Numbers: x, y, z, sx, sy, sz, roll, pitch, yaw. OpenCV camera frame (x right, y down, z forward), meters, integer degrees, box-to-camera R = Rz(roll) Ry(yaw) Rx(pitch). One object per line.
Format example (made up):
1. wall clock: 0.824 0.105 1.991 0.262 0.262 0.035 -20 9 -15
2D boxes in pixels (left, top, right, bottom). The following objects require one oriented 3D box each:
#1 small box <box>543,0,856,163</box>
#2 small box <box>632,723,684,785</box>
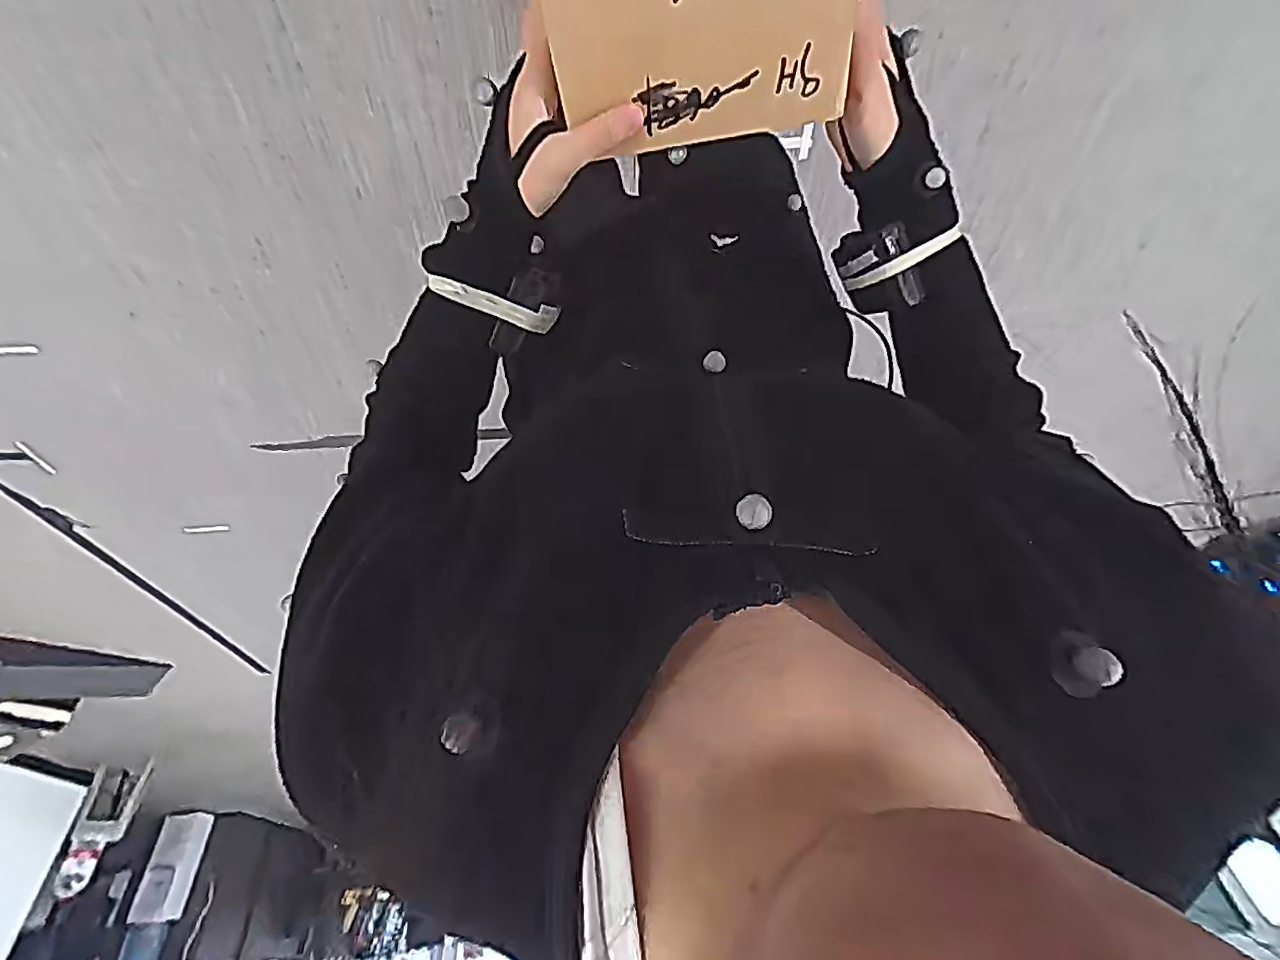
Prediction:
1. small box: 0.028 -0.321 0.326 0.168 0.176 0.179 -6 134 7
2. small box: 0.063 1.011 1.996 0.168 0.176 0.179 -3 139 -6
